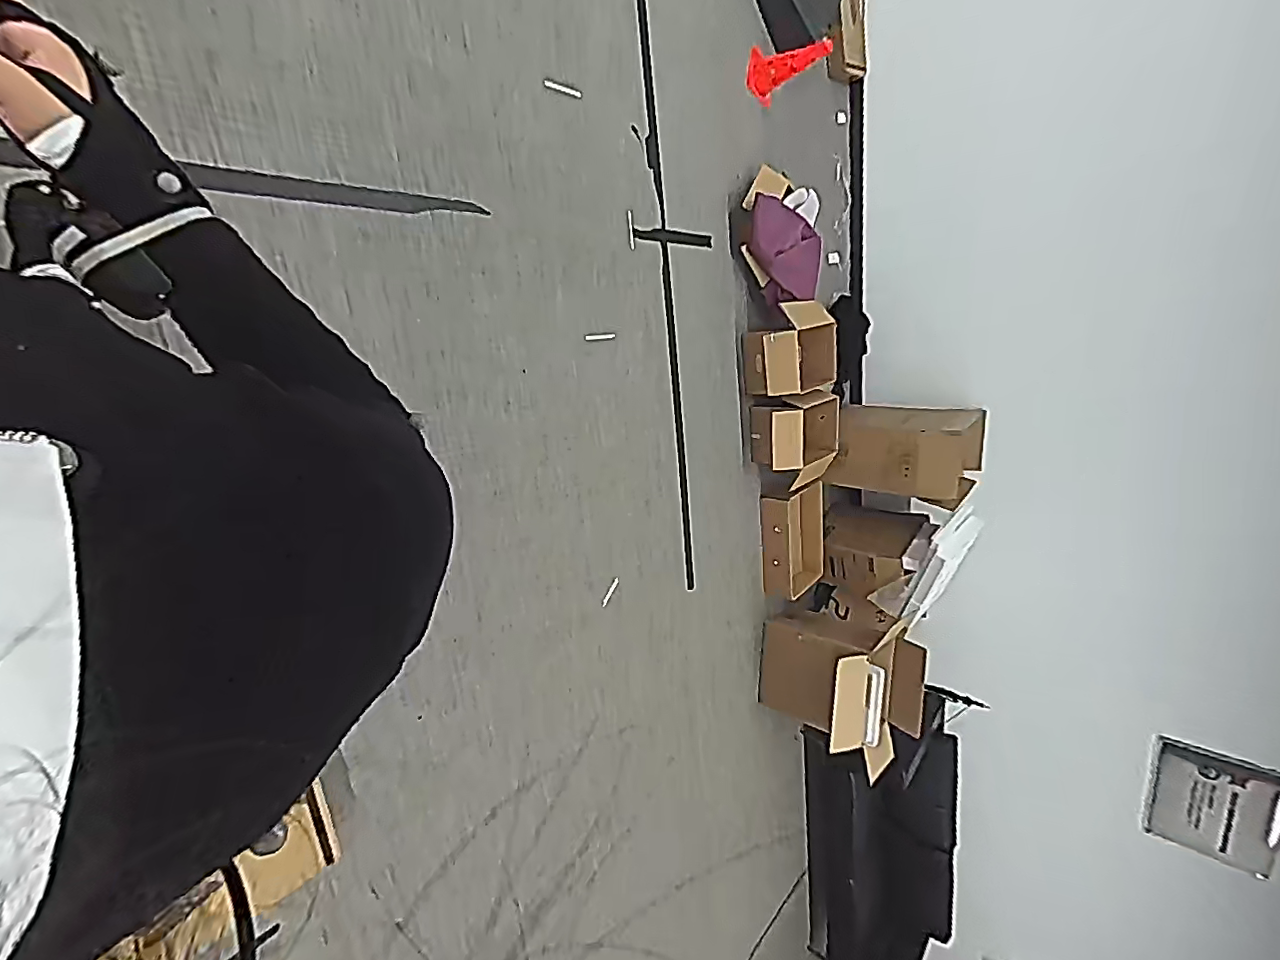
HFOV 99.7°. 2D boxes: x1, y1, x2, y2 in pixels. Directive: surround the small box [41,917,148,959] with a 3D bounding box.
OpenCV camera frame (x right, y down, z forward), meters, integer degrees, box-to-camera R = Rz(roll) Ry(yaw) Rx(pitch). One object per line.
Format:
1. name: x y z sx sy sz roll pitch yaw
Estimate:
1. small box: -1.040 0.990 1.016 0.168 0.176 0.179 -22 112 -44
